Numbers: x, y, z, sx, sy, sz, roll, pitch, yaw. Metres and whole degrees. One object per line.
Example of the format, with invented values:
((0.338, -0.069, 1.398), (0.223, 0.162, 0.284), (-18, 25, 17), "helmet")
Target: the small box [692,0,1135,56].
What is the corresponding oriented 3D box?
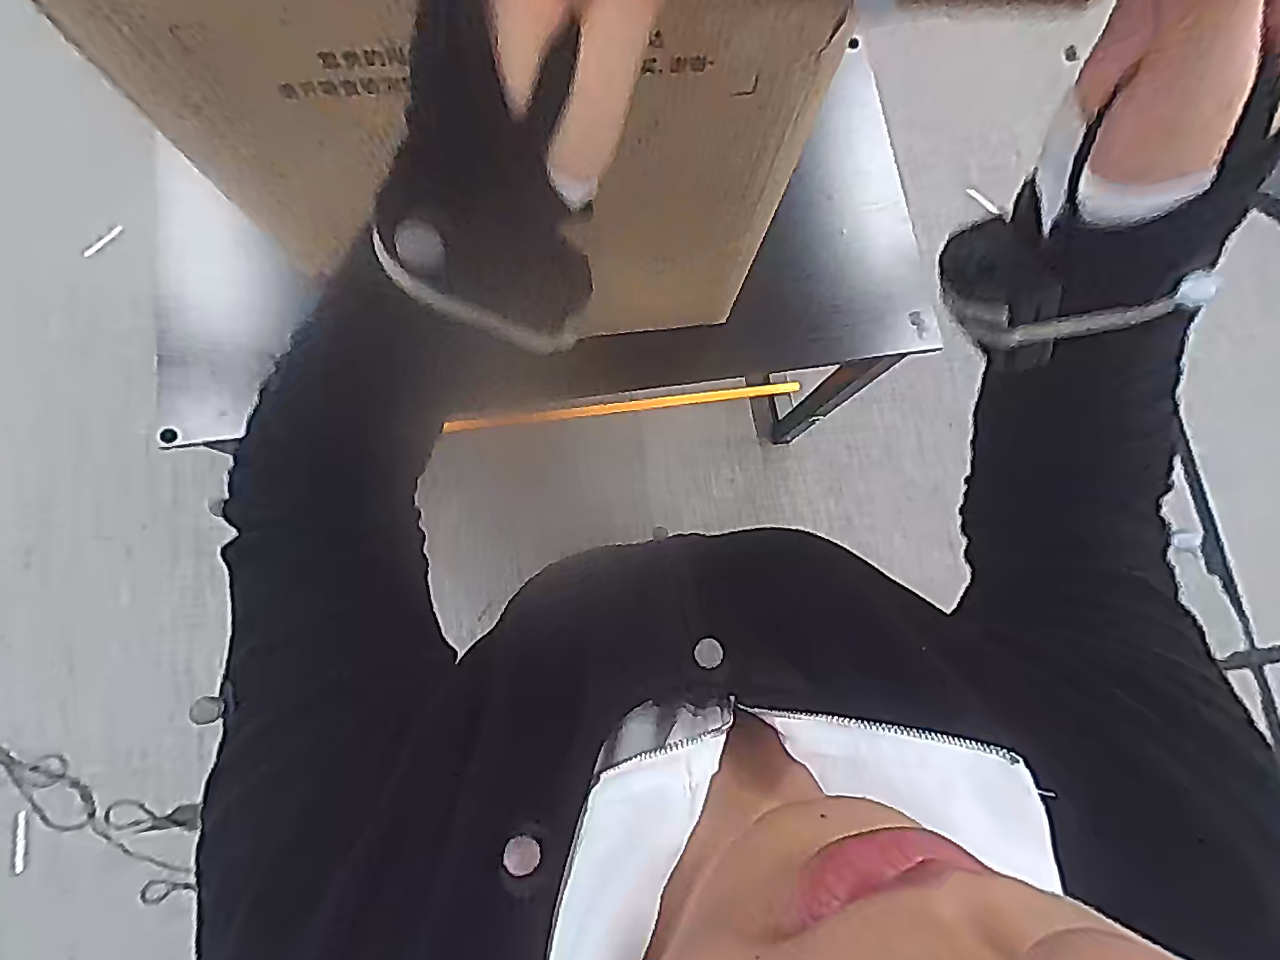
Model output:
((0.096, -0.238, 0.120), (0.168, 0.176, 0.179), (1, 105, 2), "small box")
